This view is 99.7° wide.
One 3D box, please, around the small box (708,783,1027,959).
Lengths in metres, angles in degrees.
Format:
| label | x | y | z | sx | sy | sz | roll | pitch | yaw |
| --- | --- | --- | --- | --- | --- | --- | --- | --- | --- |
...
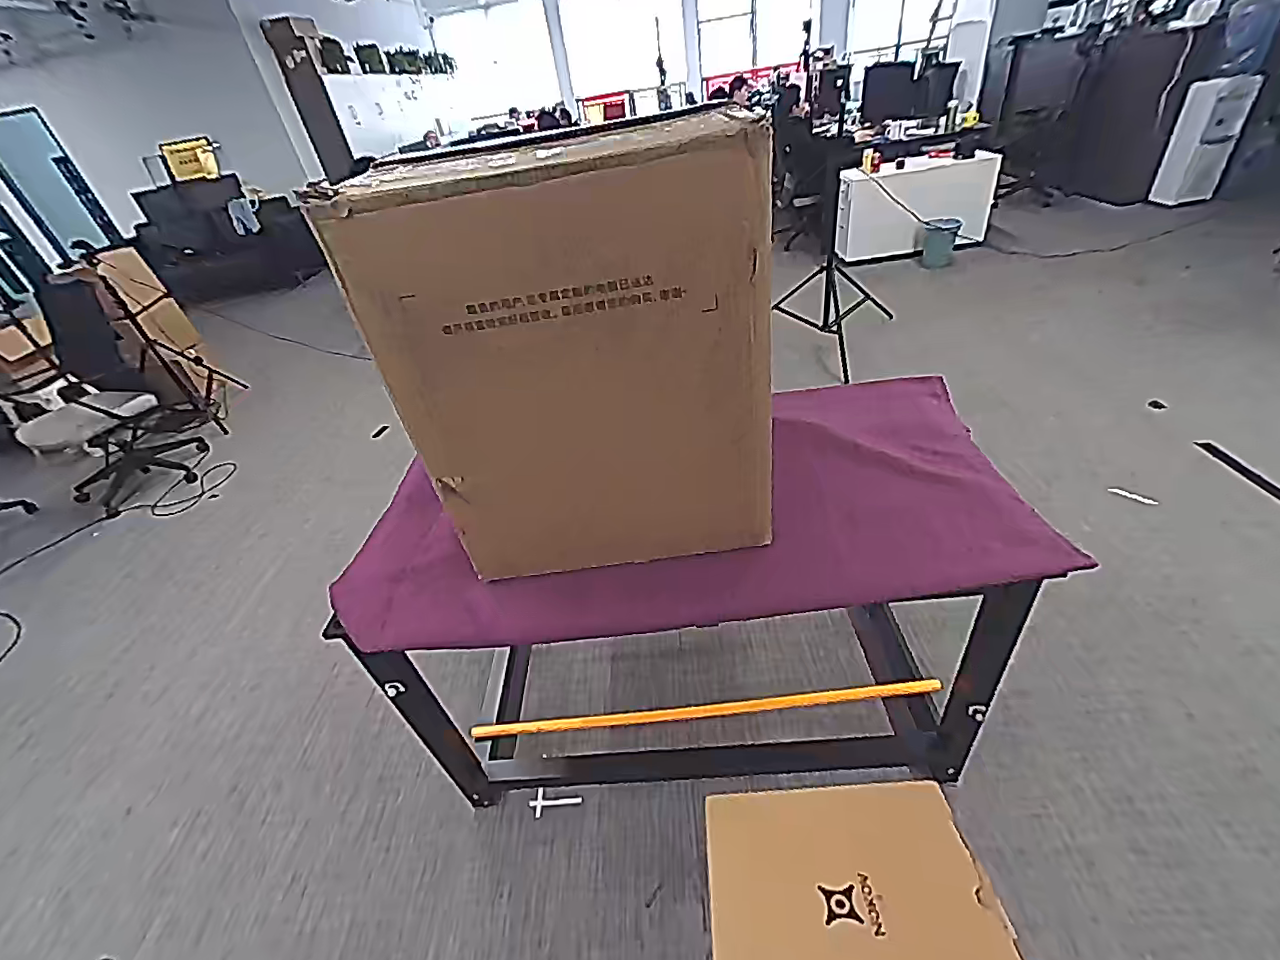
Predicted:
| label | x | y | z | sx | sy | sz | roll | pitch | yaw |
| --- | --- | --- | --- | --- | --- | --- | --- | --- | --- |
| small box | 0.147 | 0.342 | 0.366 | 0.179 | 0.176 | 0.168 | -8 | 20 | 7 |
